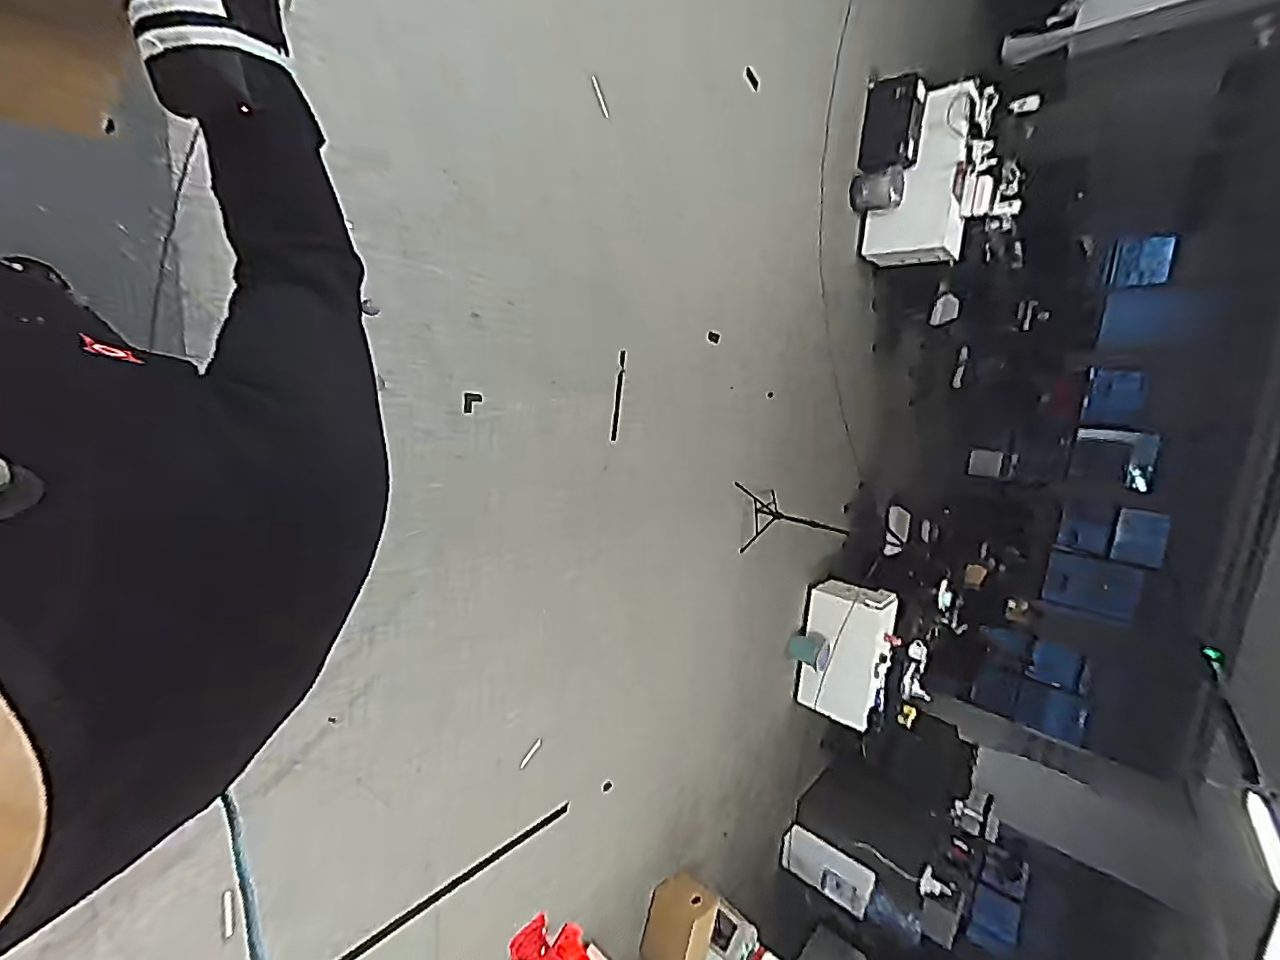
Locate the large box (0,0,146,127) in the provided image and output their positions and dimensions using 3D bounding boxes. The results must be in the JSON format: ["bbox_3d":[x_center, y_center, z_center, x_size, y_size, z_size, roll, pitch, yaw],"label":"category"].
[{"bbox_3d":[-0.537,-0.425,0.240,0.408,0.320,0.320,-18,108,-48],"label":"large box"}]
